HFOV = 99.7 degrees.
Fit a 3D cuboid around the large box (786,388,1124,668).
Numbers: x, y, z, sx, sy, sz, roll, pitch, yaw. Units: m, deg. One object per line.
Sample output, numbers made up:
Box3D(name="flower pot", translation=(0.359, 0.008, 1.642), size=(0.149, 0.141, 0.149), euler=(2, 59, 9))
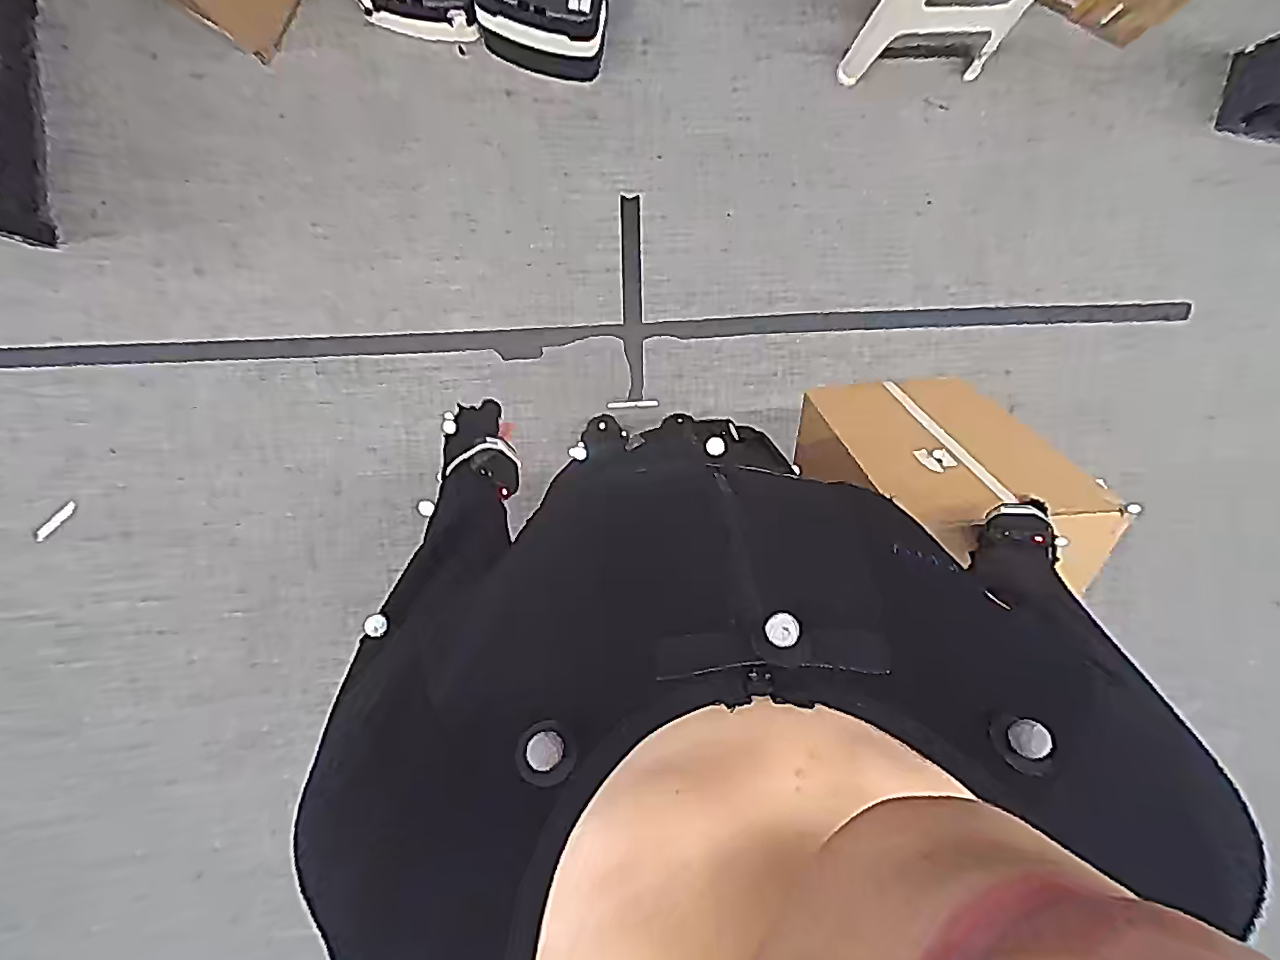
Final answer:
Box3D(name="large box", translation=(0.489, 0.066, 0.967), size=(0.320, 0.408, 0.320), euler=(-4, 126, -3))
